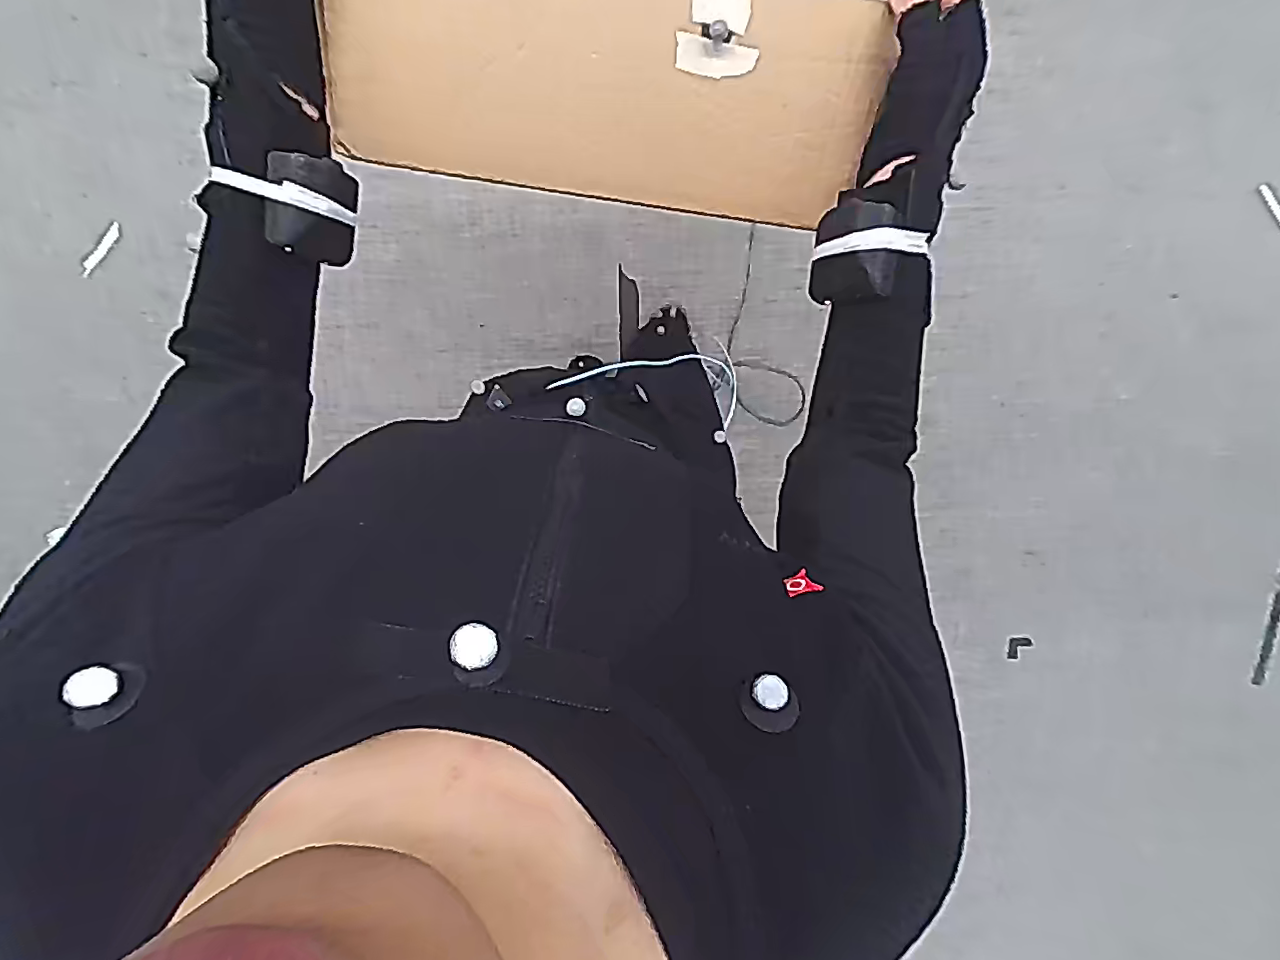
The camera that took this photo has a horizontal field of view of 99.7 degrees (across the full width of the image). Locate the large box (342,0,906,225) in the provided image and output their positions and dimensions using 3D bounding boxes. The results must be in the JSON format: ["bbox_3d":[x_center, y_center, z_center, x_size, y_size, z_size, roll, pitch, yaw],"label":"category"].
[{"bbox_3d":[-0.014,-0.438,0.498,0.408,0.320,0.320,5,119,-8],"label":"large box"}]
